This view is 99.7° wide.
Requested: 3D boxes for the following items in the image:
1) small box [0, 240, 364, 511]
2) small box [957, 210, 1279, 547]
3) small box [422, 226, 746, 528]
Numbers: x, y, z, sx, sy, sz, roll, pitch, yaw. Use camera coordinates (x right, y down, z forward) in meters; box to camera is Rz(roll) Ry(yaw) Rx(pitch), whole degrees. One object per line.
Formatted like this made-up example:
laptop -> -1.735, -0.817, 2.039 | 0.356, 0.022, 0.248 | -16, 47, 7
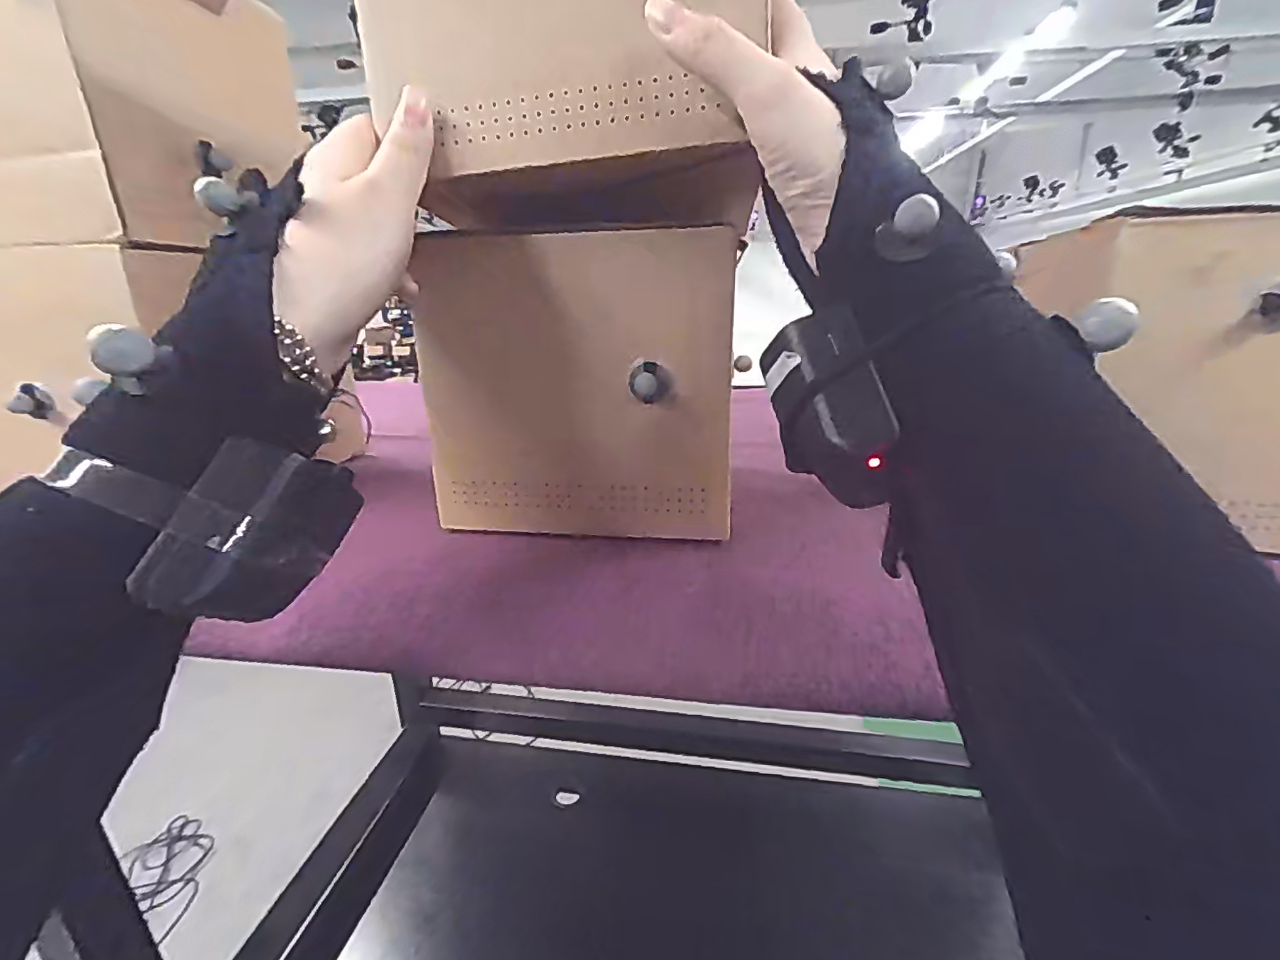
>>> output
small box -> -0.340, -0.083, 0.413 | 0.168, 0.176, 0.179 | 3, 19, 7
small box -> 0.326, -0.064, 0.347 | 0.179, 0.176, 0.168 | 3, 16, 10
small box -> -0.022, -0.070, 0.378 | 0.179, 0.176, 0.168 | 1, 15, 8
